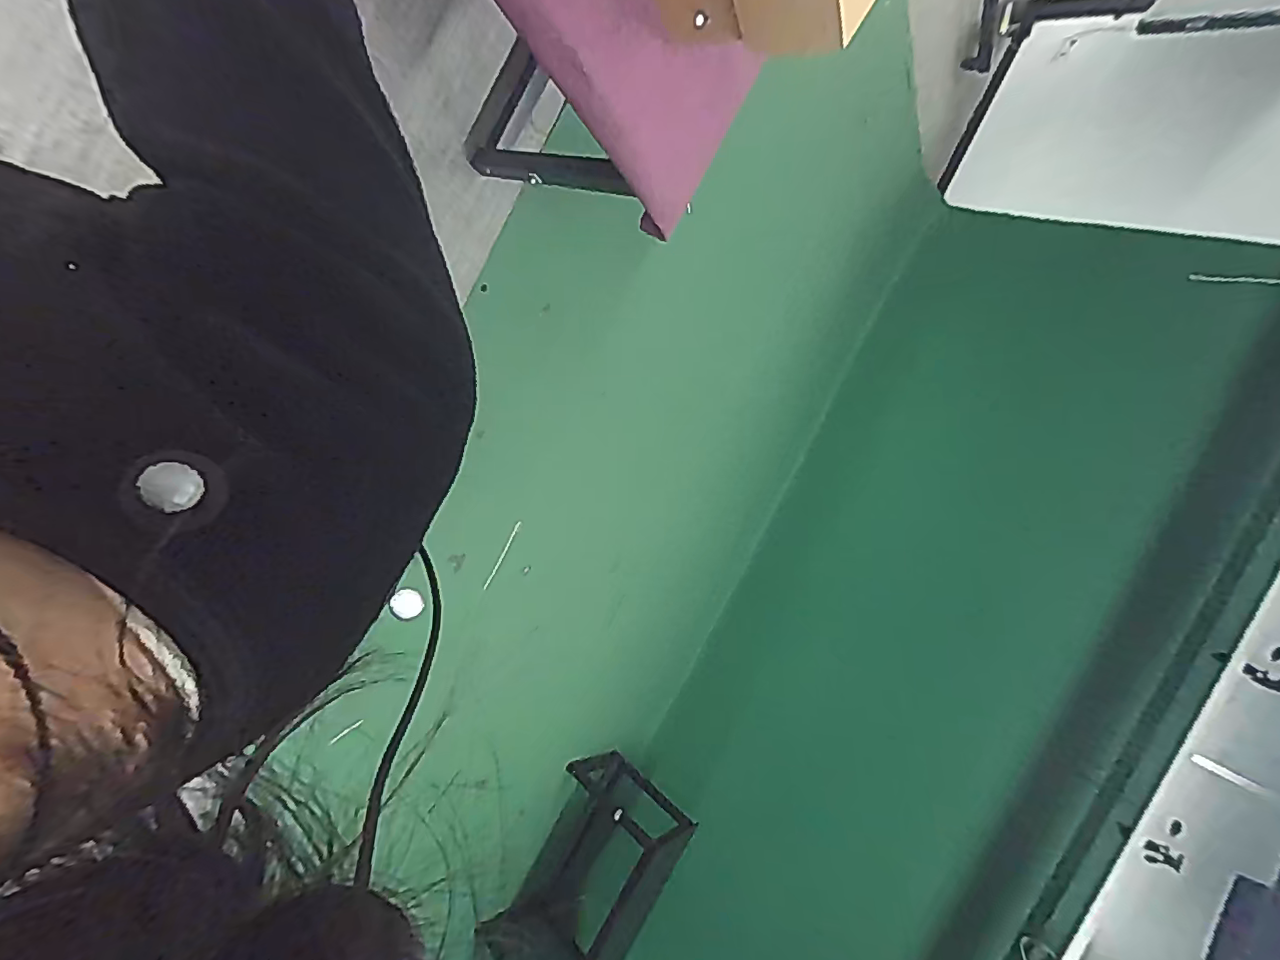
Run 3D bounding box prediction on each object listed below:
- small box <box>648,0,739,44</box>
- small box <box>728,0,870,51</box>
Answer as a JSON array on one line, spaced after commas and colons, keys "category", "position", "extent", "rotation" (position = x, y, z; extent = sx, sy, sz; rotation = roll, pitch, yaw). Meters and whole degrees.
[{"category": "small box", "position": [0.108, -0.820, 0.834], "extent": [0.168, 0.176, 0.179], "rotation": [-57, 147, -7]}, {"category": "small box", "position": [0.225, -0.739, 0.752], "extent": [0.168, 0.176, 0.179], "rotation": [-58, 147, -6]}]
